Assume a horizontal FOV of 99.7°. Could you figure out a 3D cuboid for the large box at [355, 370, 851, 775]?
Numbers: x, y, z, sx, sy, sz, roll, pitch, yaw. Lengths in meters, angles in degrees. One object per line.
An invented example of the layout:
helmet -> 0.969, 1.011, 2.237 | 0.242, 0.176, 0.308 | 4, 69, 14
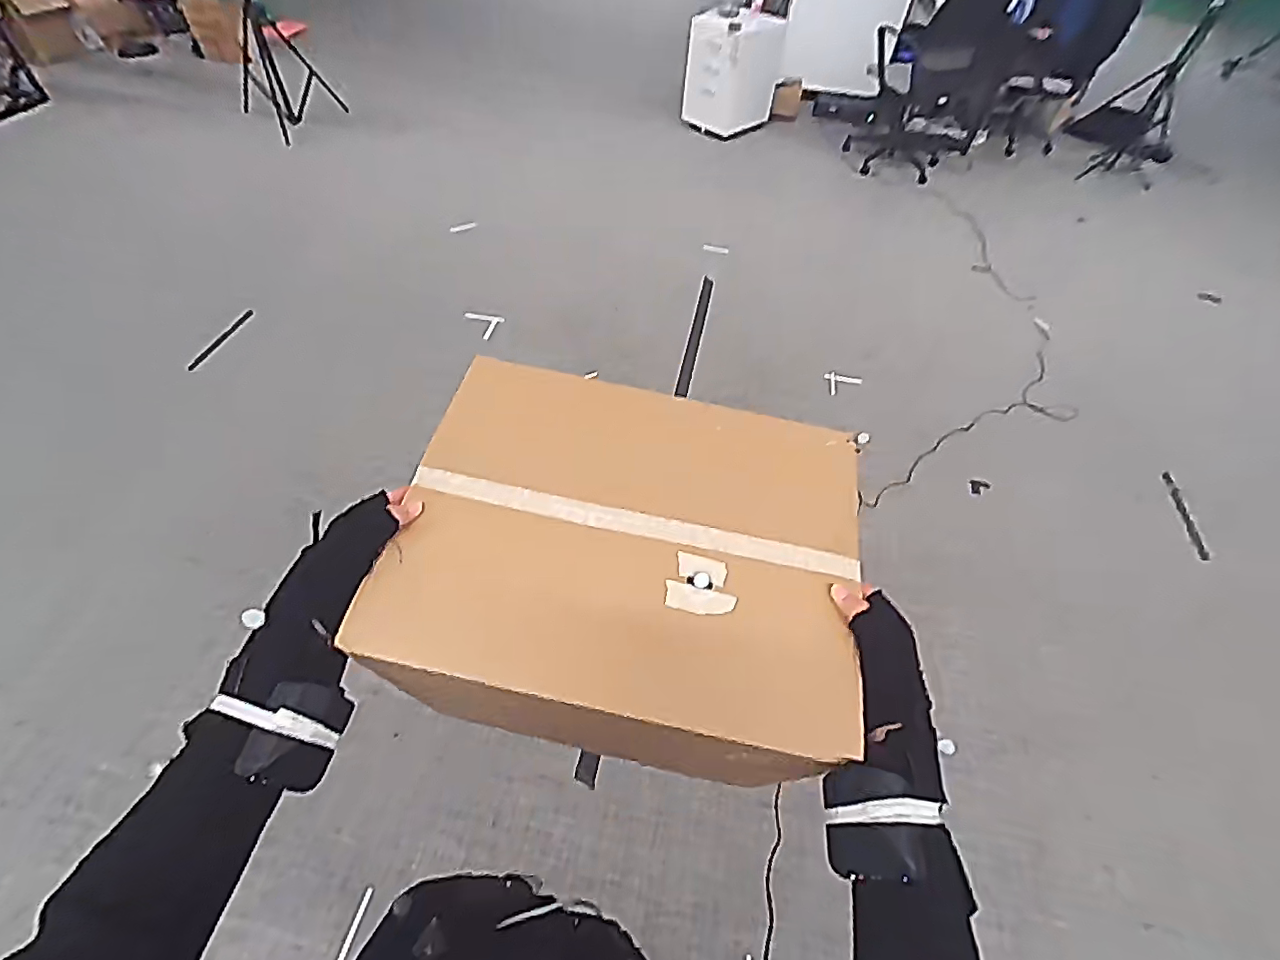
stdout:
large box -> -0.020, 0.122, 0.623 | 0.408, 0.320, 0.320 | 12, 59, 1
